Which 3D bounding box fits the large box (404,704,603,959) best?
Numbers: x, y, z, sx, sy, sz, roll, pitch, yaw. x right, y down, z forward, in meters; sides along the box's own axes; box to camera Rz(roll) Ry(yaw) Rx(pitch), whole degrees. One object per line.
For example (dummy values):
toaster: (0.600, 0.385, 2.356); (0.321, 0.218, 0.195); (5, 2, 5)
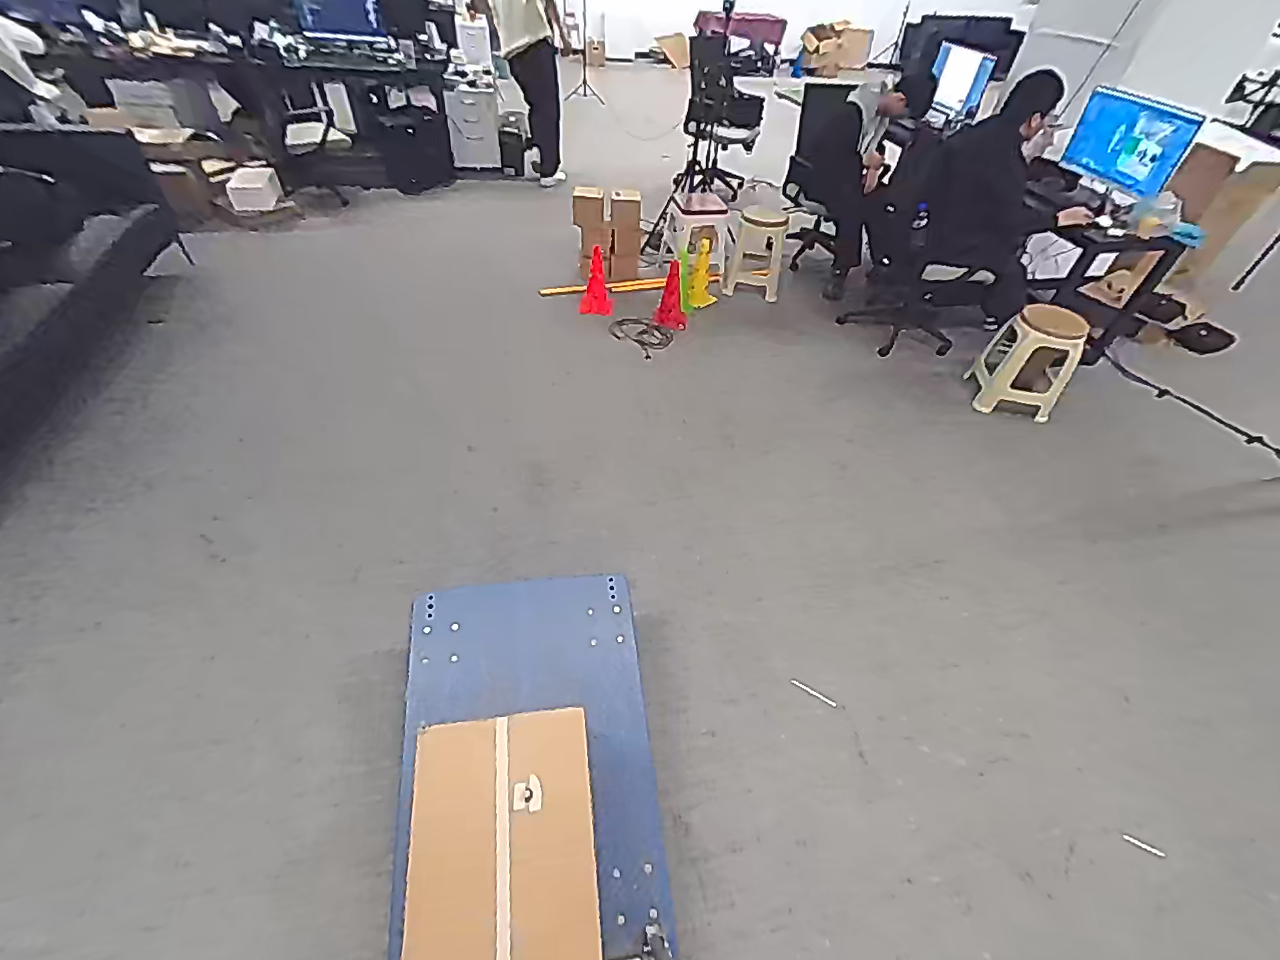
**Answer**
large box: (-0.251, 0.697, 1.065); (0.320, 0.320, 0.408); (-4, 59, -9)
